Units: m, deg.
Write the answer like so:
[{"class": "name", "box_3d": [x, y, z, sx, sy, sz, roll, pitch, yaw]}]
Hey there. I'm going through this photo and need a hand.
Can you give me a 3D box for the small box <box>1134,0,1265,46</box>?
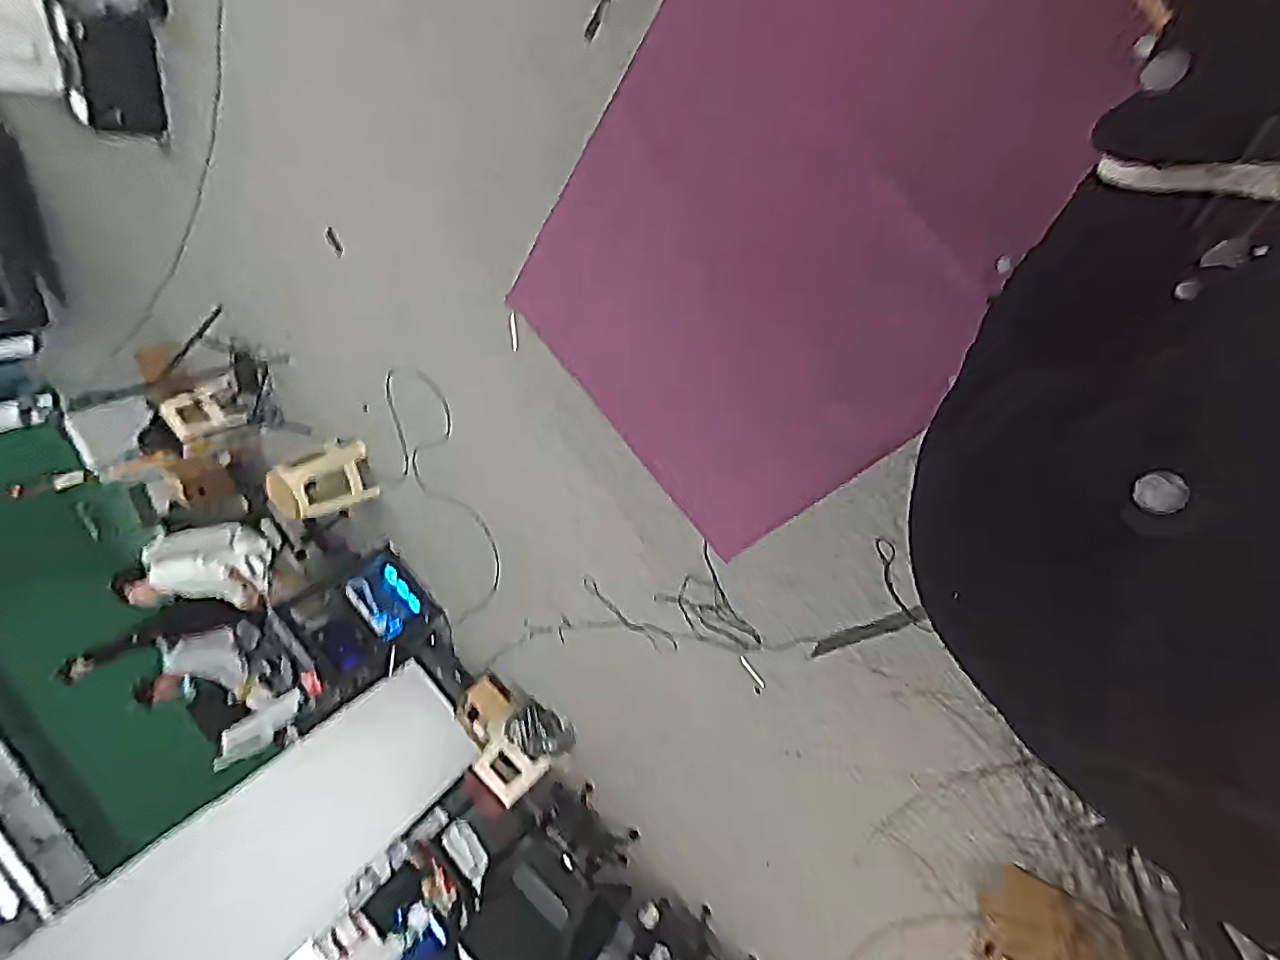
[{"class": "small box", "box_3d": [0.413, -0.430, 0.350, 0.179, 0.176, 0.168, 53, 134, 1]}]
